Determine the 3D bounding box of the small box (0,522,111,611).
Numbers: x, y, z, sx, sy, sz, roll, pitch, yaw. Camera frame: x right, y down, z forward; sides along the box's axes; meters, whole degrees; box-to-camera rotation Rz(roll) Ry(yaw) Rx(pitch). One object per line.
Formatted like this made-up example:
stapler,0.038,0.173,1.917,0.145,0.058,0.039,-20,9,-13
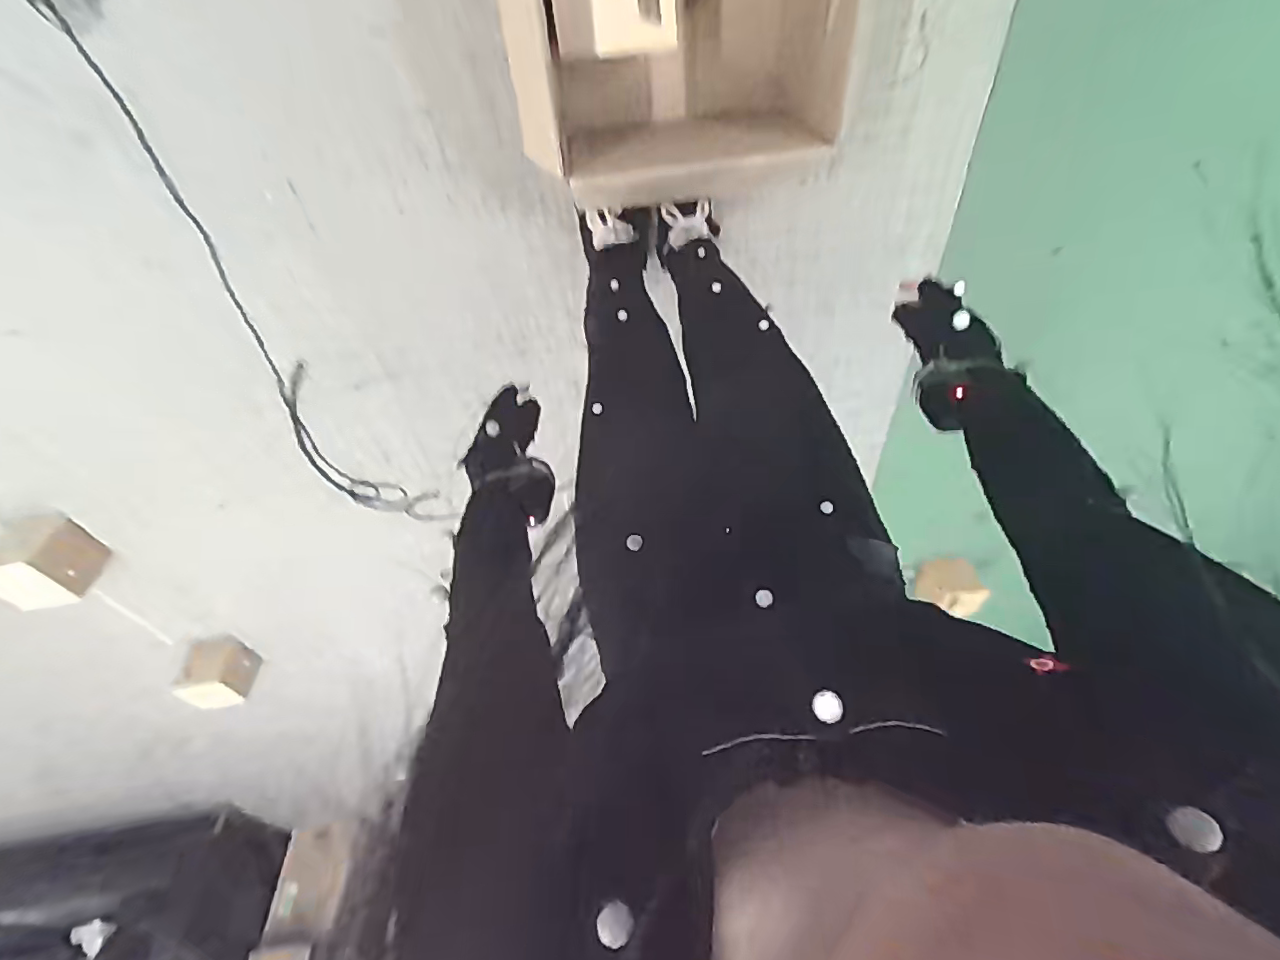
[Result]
small box,-1.633,0.230,1.478,0.168,0.176,0.179,-10,135,0

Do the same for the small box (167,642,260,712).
small box,-1.533,0.711,1.956,0.179,0.176,0.168,-10,134,0
